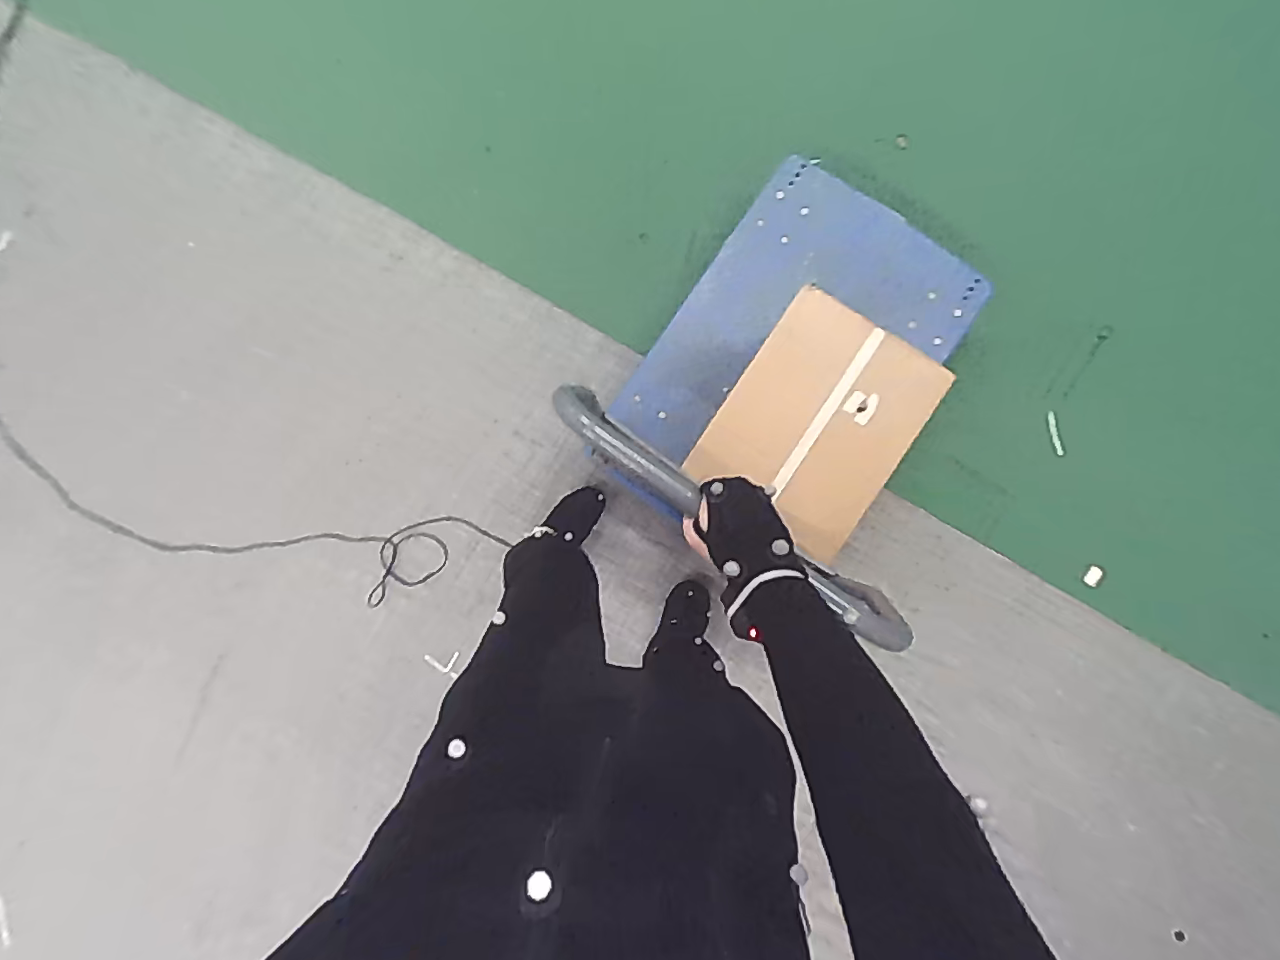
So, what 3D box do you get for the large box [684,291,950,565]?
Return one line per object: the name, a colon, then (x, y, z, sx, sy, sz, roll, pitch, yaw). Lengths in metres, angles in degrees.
large box: (0.323, -0.088, 1.109, 0.320, 0.320, 0.408, 34, 89, 2)
